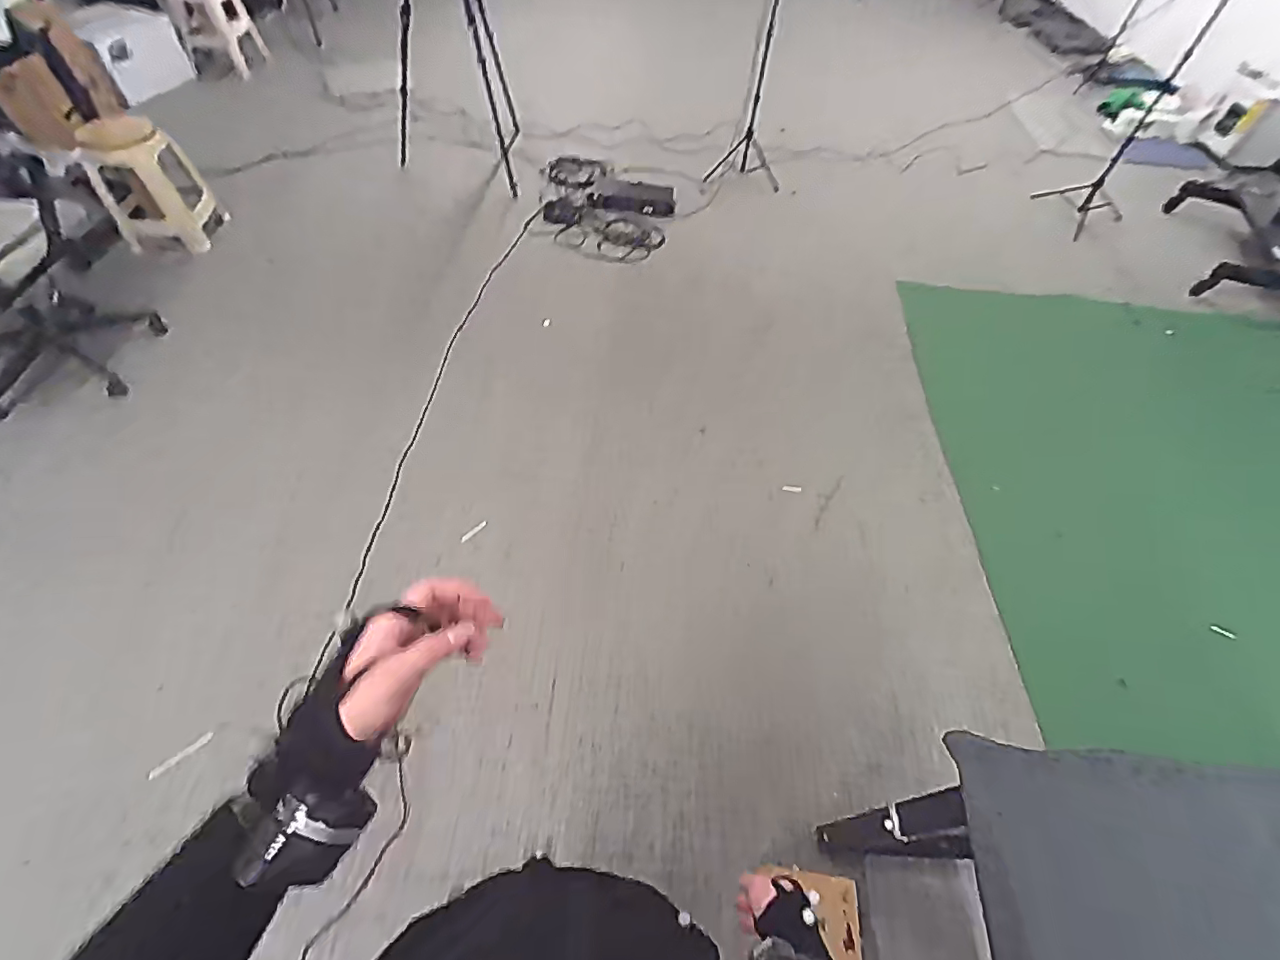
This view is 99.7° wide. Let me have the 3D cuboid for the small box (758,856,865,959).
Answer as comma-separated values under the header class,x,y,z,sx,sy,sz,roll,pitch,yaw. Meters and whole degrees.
class,x,y,z,sx,sy,sz,roll,pitch,yaw
small box,0.353,0.914,1.145,0.179,0.176,0.168,9,54,2
